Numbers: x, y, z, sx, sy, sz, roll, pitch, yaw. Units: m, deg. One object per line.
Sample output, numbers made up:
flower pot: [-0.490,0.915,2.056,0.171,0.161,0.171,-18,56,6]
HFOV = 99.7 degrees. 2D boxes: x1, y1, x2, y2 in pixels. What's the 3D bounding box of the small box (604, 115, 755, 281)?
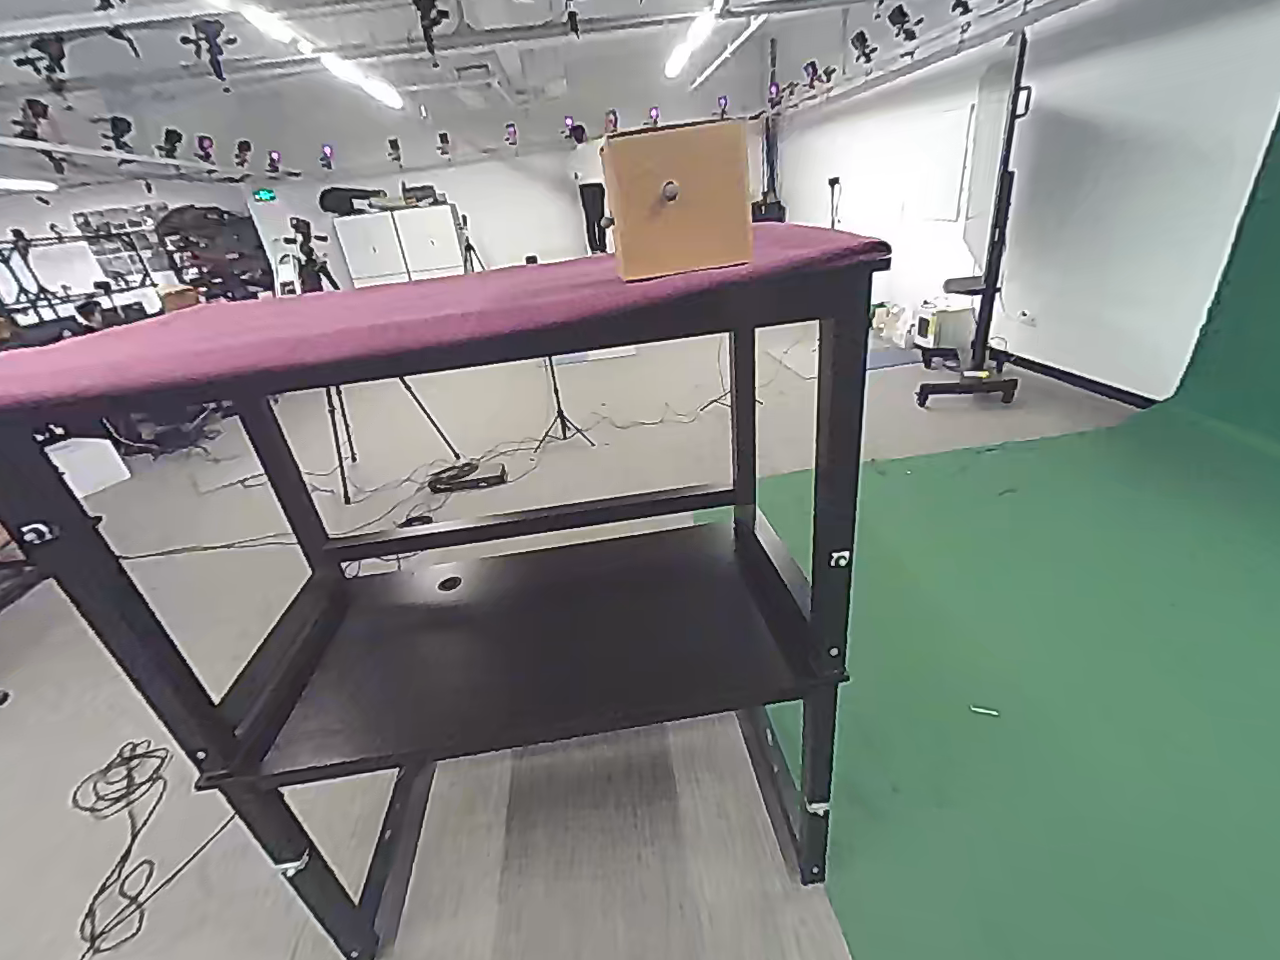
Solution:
small box: [0.052,-0.378,0.751,0.179,0.176,0.168,-9,25,-1]
